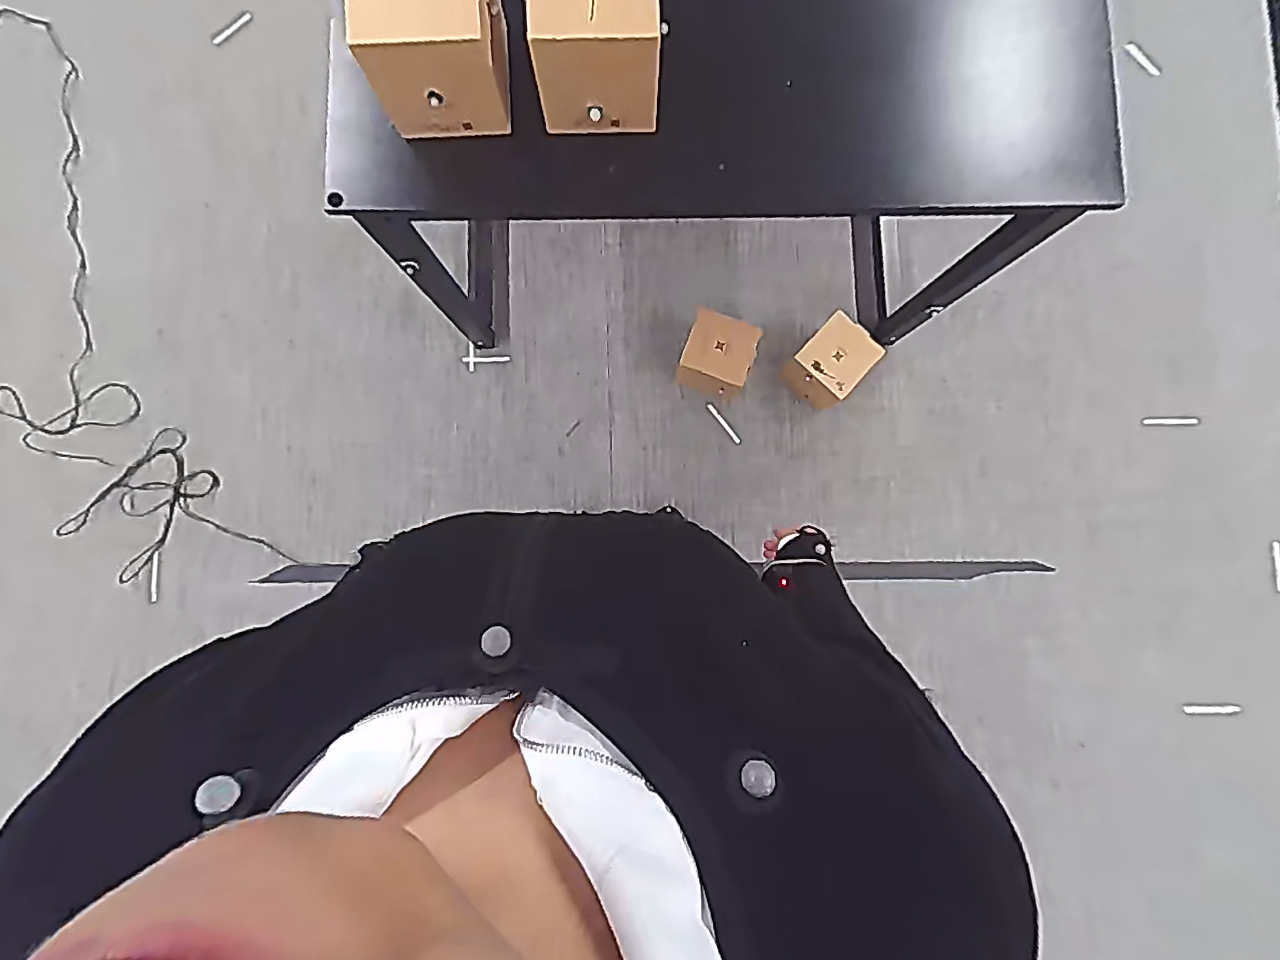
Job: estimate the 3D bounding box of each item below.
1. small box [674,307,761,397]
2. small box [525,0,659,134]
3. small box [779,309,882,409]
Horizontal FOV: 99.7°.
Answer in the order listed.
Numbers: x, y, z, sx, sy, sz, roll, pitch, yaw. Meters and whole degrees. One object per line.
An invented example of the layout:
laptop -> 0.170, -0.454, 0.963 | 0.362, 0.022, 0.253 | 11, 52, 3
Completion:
small box -> 0.202, -0.338, 1.463 | 0.179, 0.176, 0.168 | 20, 86, 2
small box -> -0.061, -0.620, 0.747 | 0.168, 0.176, 0.179 | -1, 87, 0
small box -> 0.505, -0.319, 1.462 | 0.168, 0.176, 0.179 | 43, 87, 2
